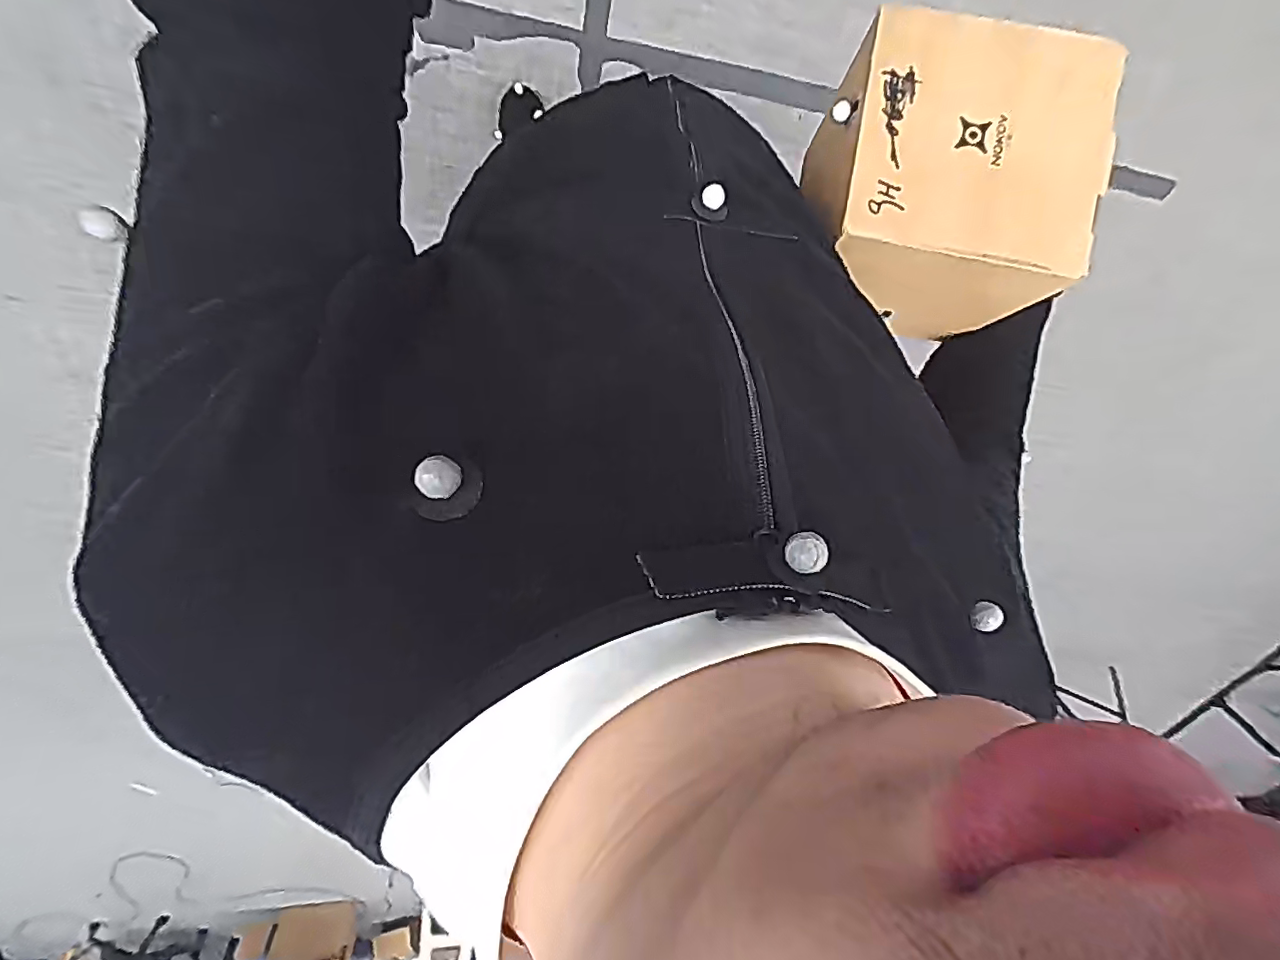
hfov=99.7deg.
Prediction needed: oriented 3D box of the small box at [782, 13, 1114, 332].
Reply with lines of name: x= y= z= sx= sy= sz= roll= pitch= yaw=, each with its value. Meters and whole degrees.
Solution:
small box: x=0.242 y=-0.239 z=0.468 sx=0.179 sy=0.176 sz=0.168 roll=10 pitch=89 yaw=-1
